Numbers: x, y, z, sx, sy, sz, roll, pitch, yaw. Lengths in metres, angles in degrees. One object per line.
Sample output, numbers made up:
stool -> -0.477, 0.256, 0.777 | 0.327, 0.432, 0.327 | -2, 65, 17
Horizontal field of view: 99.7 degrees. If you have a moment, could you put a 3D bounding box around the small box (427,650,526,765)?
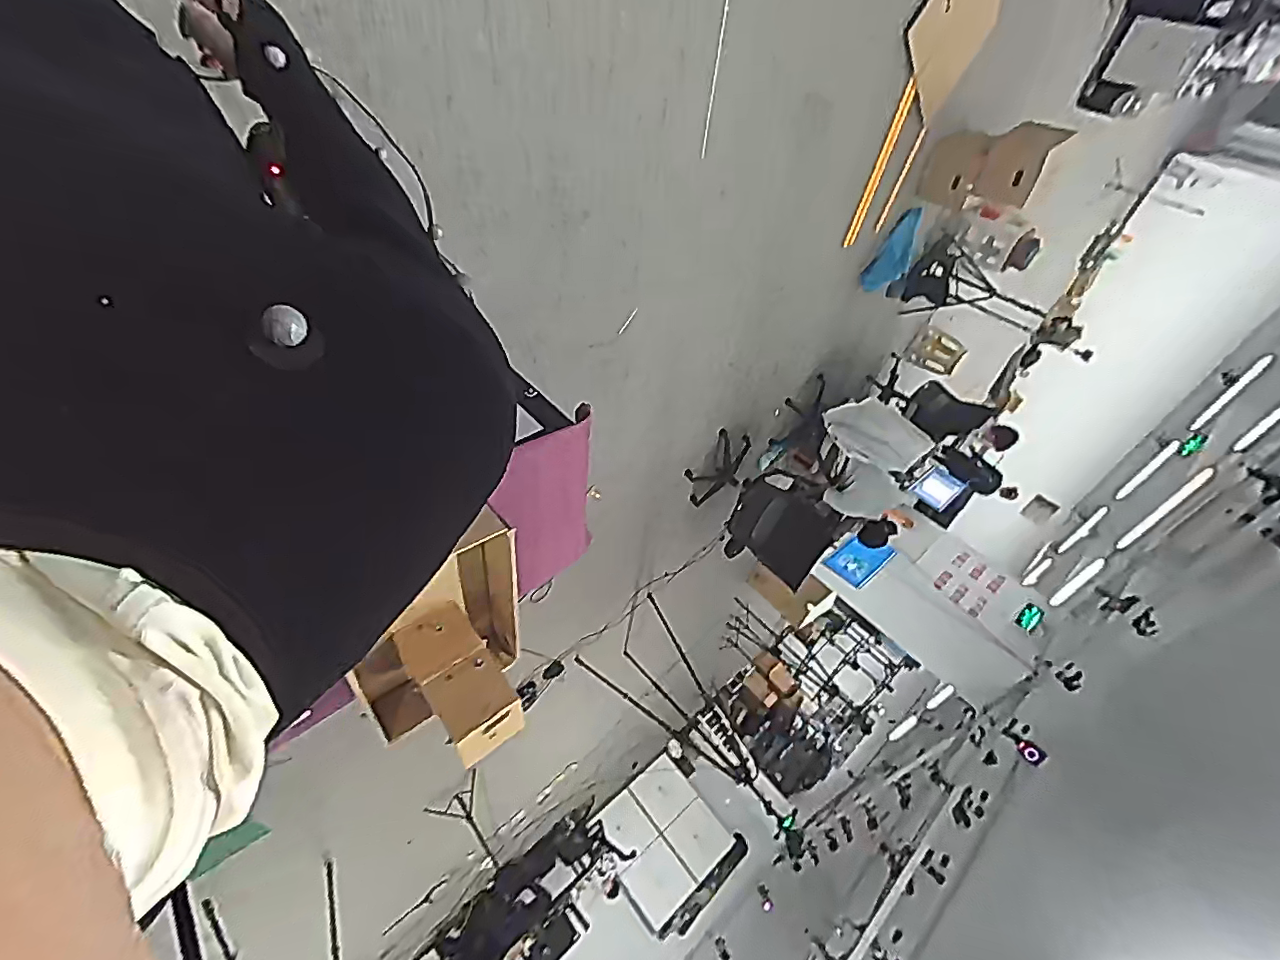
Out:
small box -> -0.400, 0.548, 1.324 | 0.168, 0.176, 0.179 | -29, 145, -30

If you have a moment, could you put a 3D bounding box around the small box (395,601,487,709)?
small box -> -0.506, 0.448, 1.400 | 0.168, 0.176, 0.179 | -28, 144, -30
